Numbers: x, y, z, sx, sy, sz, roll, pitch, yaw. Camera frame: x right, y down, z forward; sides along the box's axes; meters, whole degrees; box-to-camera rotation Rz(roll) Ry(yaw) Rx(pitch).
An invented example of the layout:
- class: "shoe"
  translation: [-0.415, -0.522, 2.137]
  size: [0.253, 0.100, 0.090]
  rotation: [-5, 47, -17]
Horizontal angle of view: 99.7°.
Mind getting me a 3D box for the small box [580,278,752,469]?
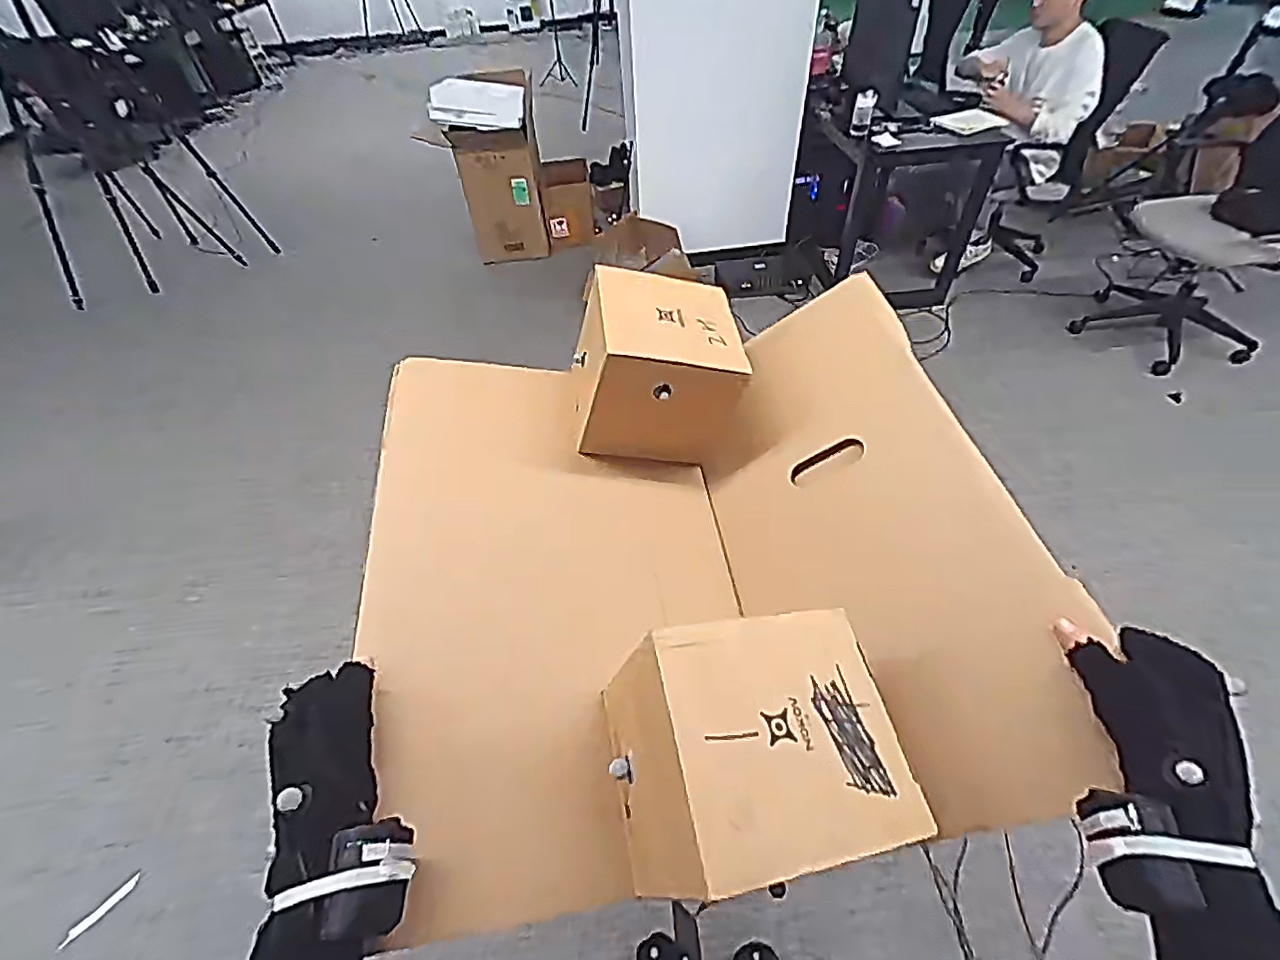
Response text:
- class: "small box"
  translation: [0.018, -0.130, 0.704]
  size: [0.179, 0.176, 0.168]
  rotation: [6, 52, -16]
